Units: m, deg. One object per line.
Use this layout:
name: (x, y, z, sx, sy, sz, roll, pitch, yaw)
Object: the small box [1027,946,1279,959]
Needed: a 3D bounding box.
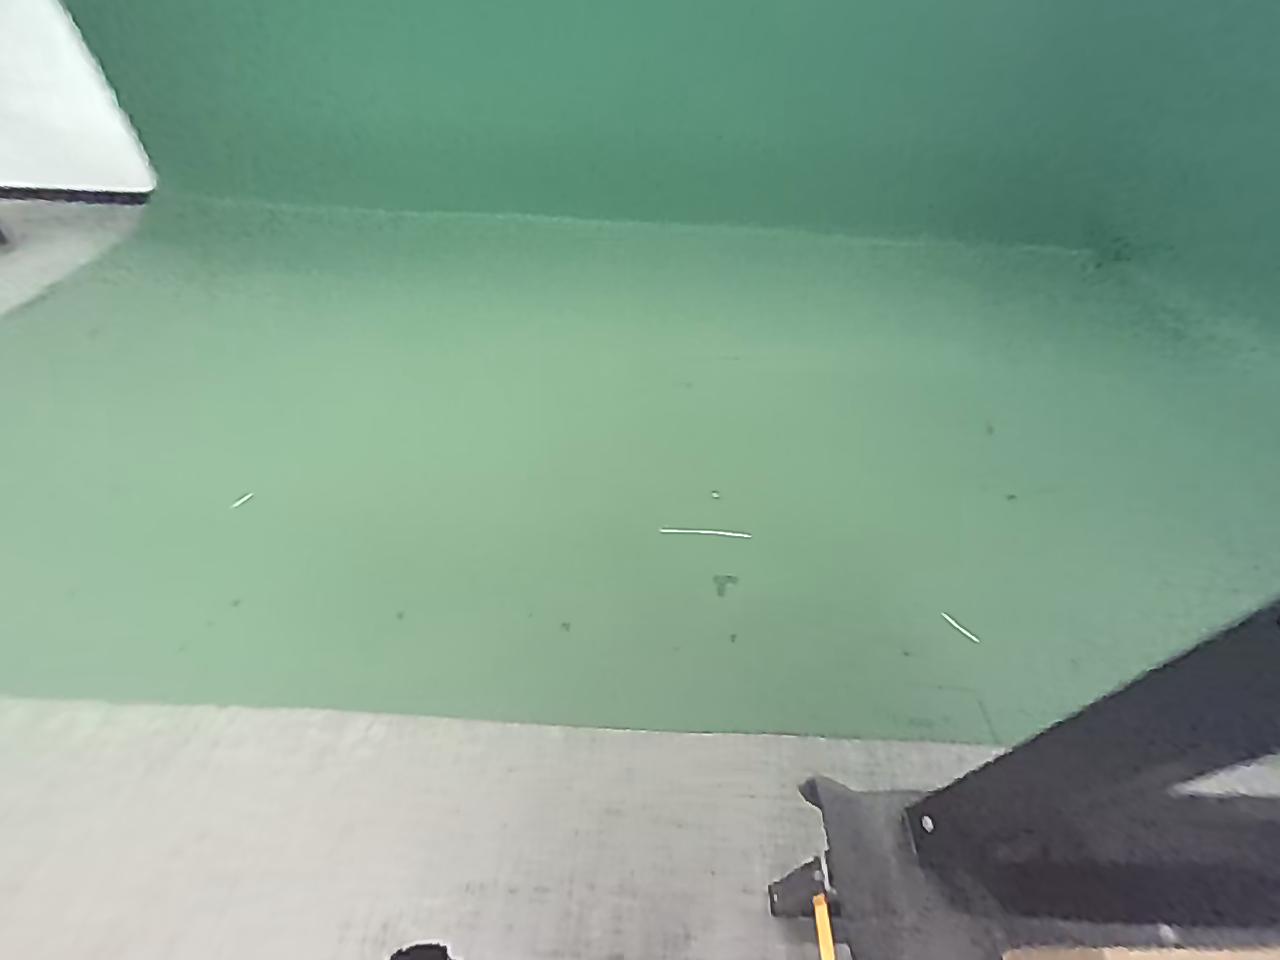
small box: (0.471, 0.511, 0.460, 0.179, 0.176, 0.168, 2, 48, -1)
